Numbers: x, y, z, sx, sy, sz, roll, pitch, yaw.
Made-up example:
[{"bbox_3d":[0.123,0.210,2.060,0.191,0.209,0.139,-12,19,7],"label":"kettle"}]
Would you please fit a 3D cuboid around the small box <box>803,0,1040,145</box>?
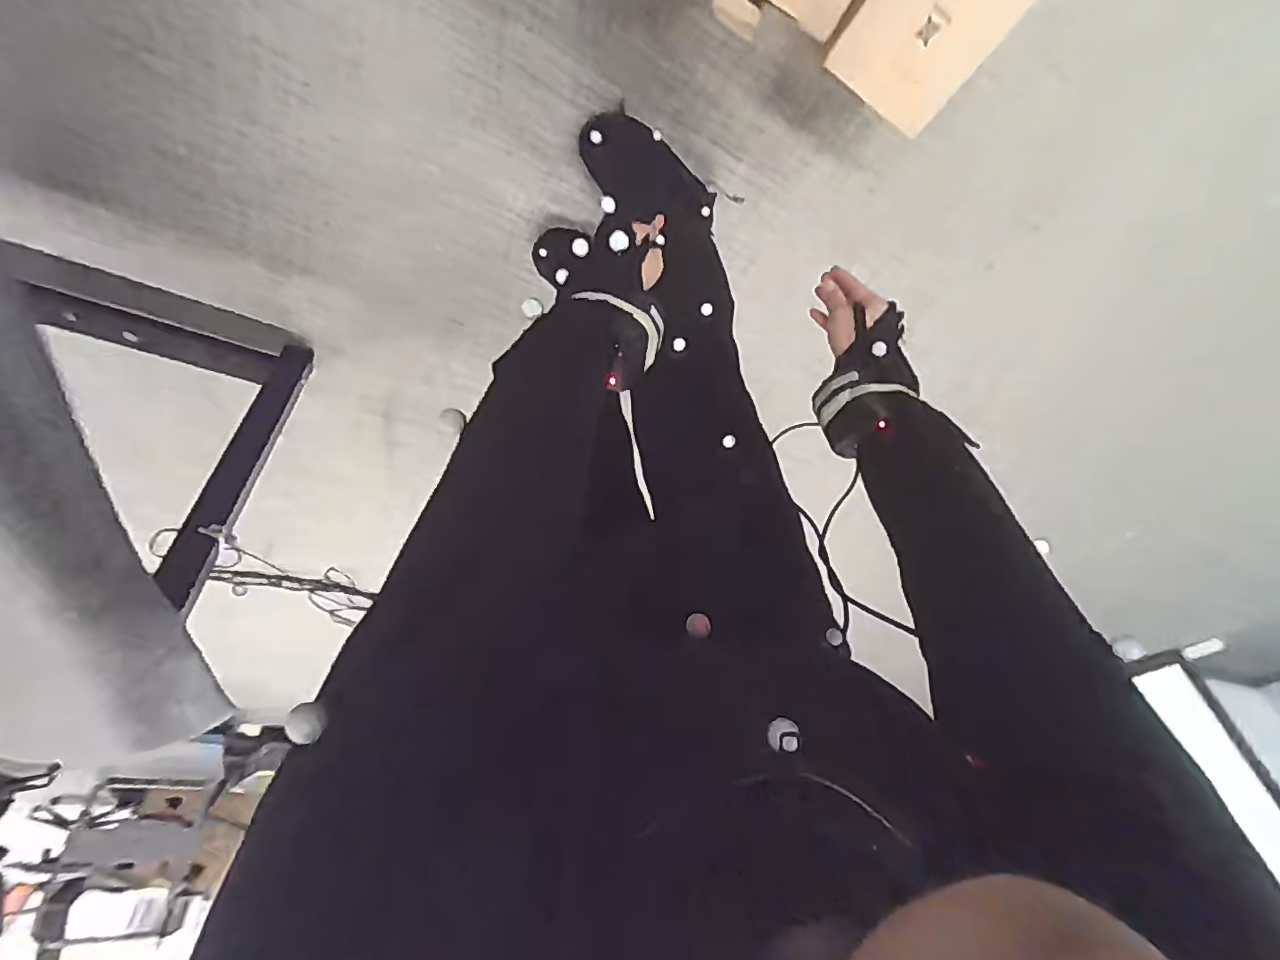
[{"bbox_3d":[0.328,-0.569,0.664,0.168,0.176,0.179,19,136,-24],"label":"small box"}]
